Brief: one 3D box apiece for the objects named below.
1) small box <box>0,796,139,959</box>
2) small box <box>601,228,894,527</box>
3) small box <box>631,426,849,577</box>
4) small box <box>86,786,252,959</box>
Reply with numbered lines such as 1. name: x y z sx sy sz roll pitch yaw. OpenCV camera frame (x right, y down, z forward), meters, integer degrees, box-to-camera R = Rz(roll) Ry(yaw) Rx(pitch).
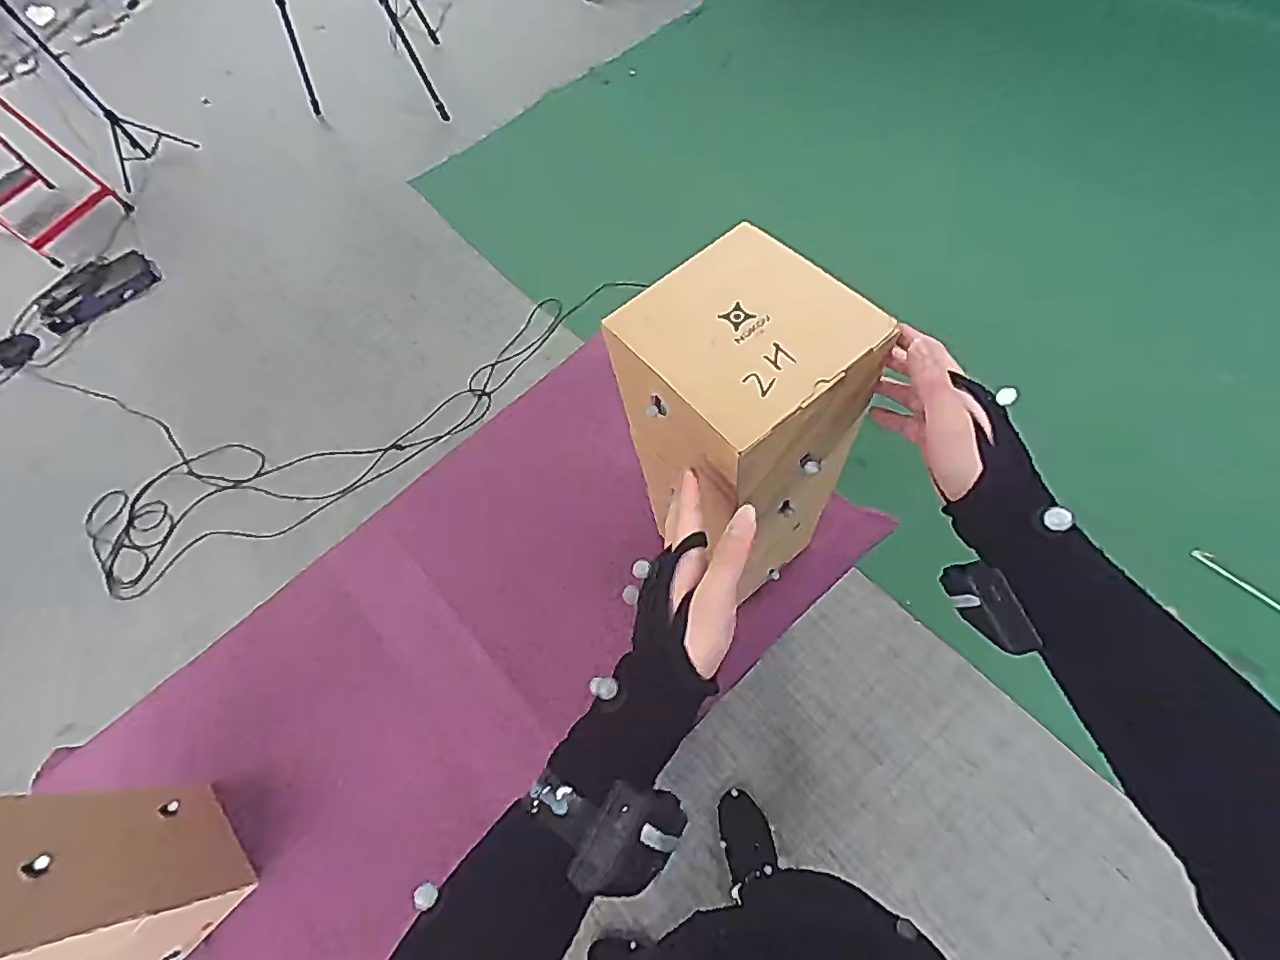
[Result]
1. small box: -0.669 0.444 0.535 0.179 0.176 0.168 40 76 23
2. small box: 0.090 -0.086 0.503 0.168 0.176 0.179 -37 64 -9
3. small box: 0.114 -0.011 0.648 0.168 0.176 0.179 -38 63 -10
4. small box: -0.649 0.517 0.680 0.179 0.176 0.168 40 76 23
